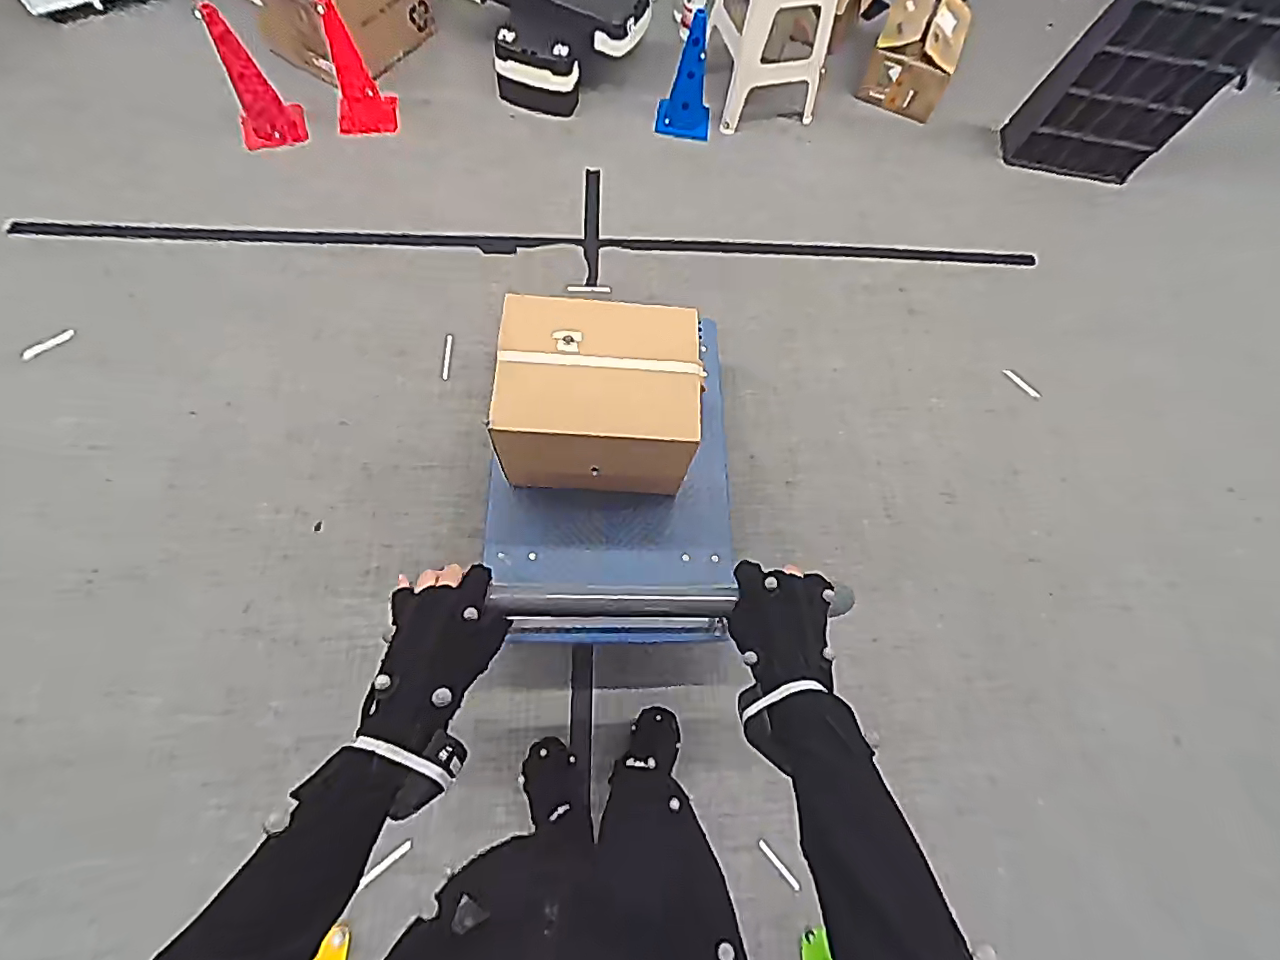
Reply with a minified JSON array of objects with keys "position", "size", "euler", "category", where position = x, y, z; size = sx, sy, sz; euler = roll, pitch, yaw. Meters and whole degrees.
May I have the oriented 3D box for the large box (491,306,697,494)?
[{"position":[-0.093,-0.163,1.229],"size":[0.408,0.320,0.320],"euler":[3,69,-4],"category":"large box"}]
